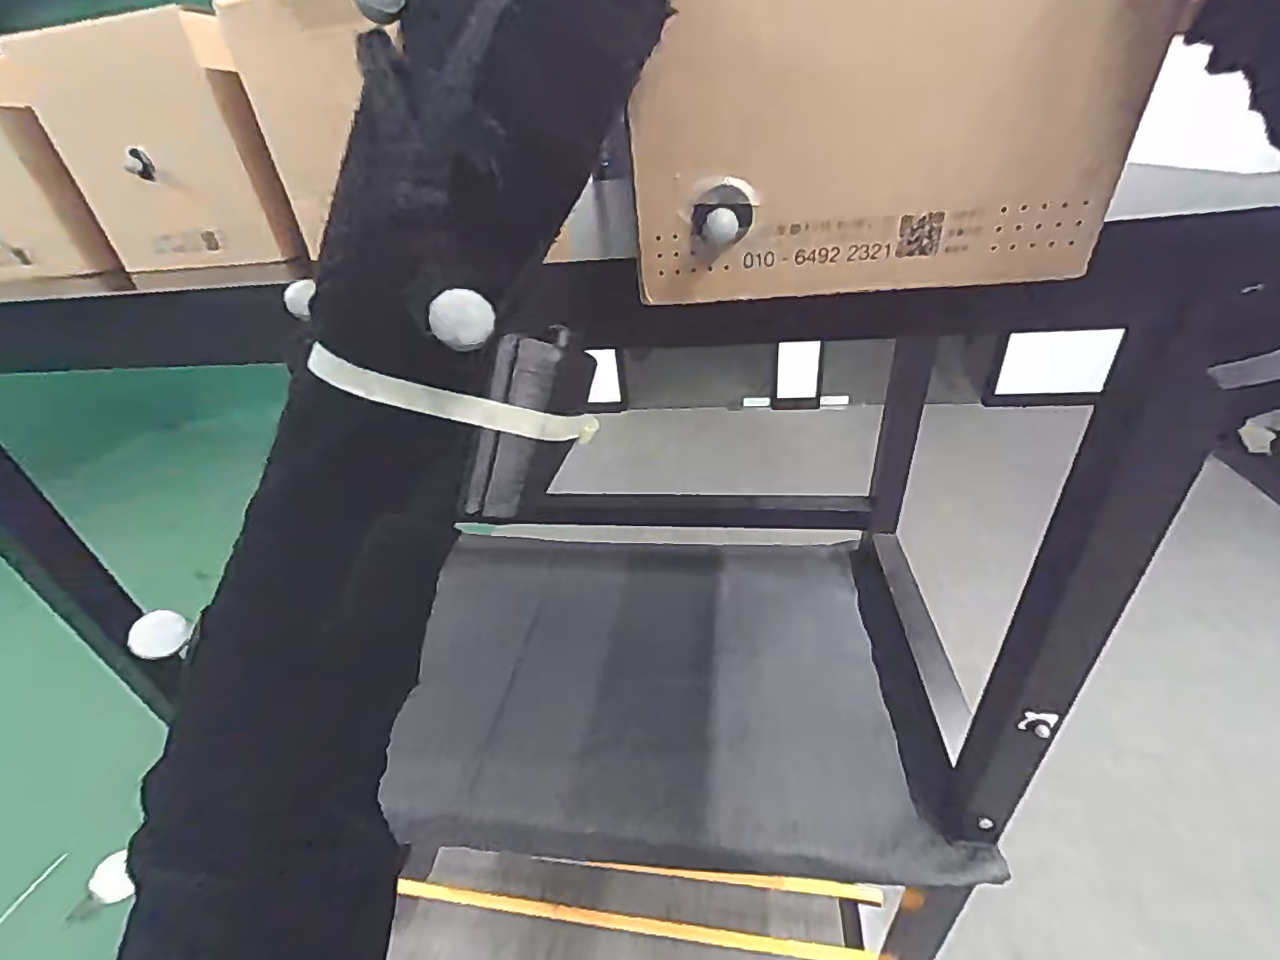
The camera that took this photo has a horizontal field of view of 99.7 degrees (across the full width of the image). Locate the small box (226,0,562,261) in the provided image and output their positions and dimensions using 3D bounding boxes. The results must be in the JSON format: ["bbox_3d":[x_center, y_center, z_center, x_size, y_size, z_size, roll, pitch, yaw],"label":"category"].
[{"bbox_3d":[-0.170,-0.285,0.445,0.168,0.176,0.179,1,34,11],"label":"small box"}]
